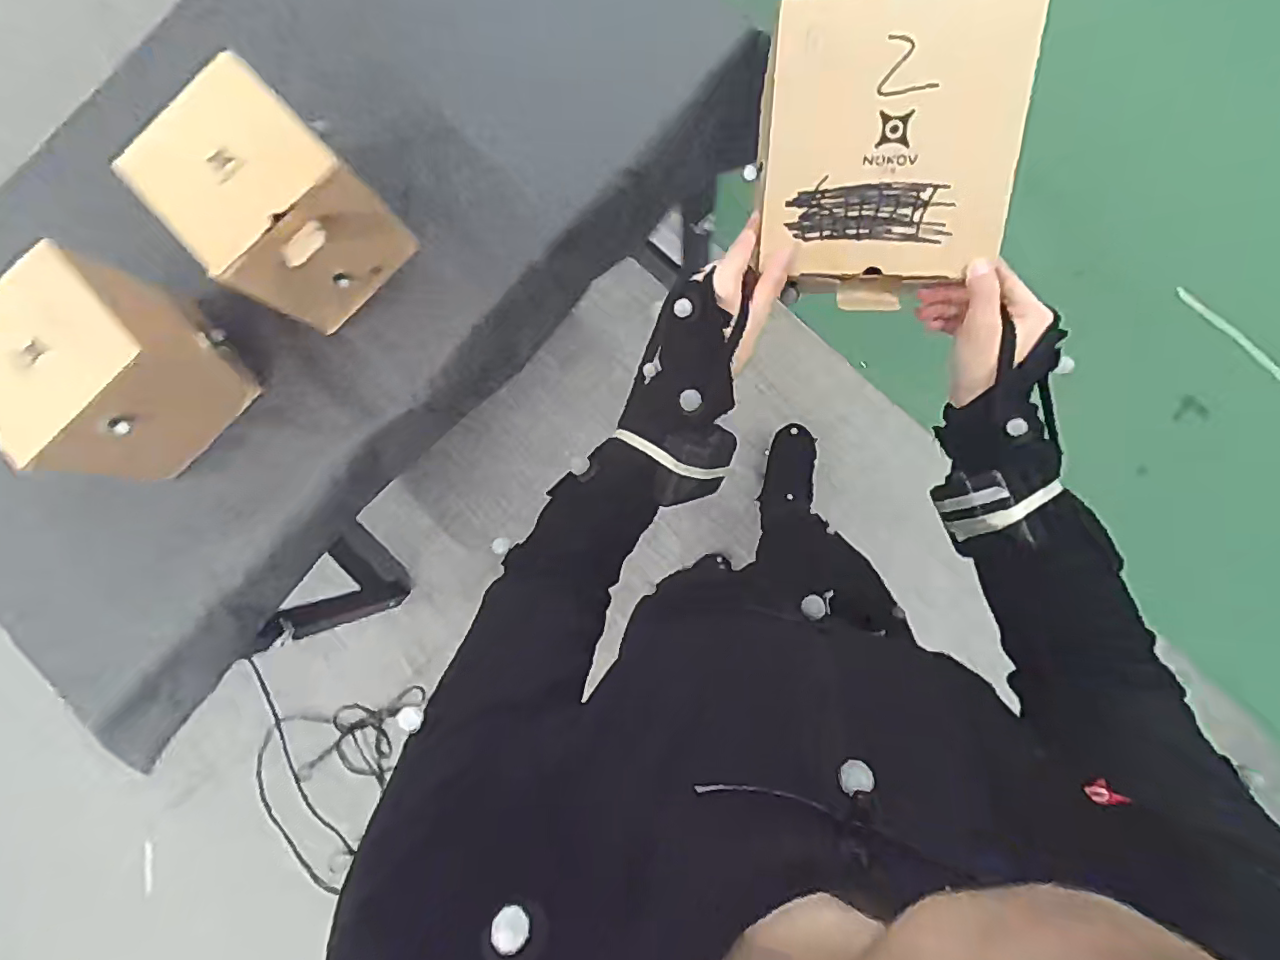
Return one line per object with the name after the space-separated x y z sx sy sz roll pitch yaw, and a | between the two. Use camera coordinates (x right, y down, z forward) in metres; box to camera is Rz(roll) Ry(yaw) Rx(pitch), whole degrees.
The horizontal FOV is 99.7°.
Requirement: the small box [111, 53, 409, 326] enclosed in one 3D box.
-0.408 -0.307 0.611 0.179 0.176 0.168 45 91 5 | small box

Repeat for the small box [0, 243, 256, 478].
-0.600 -0.117 0.615 0.179 0.176 0.168 -44 85 0 | small box
